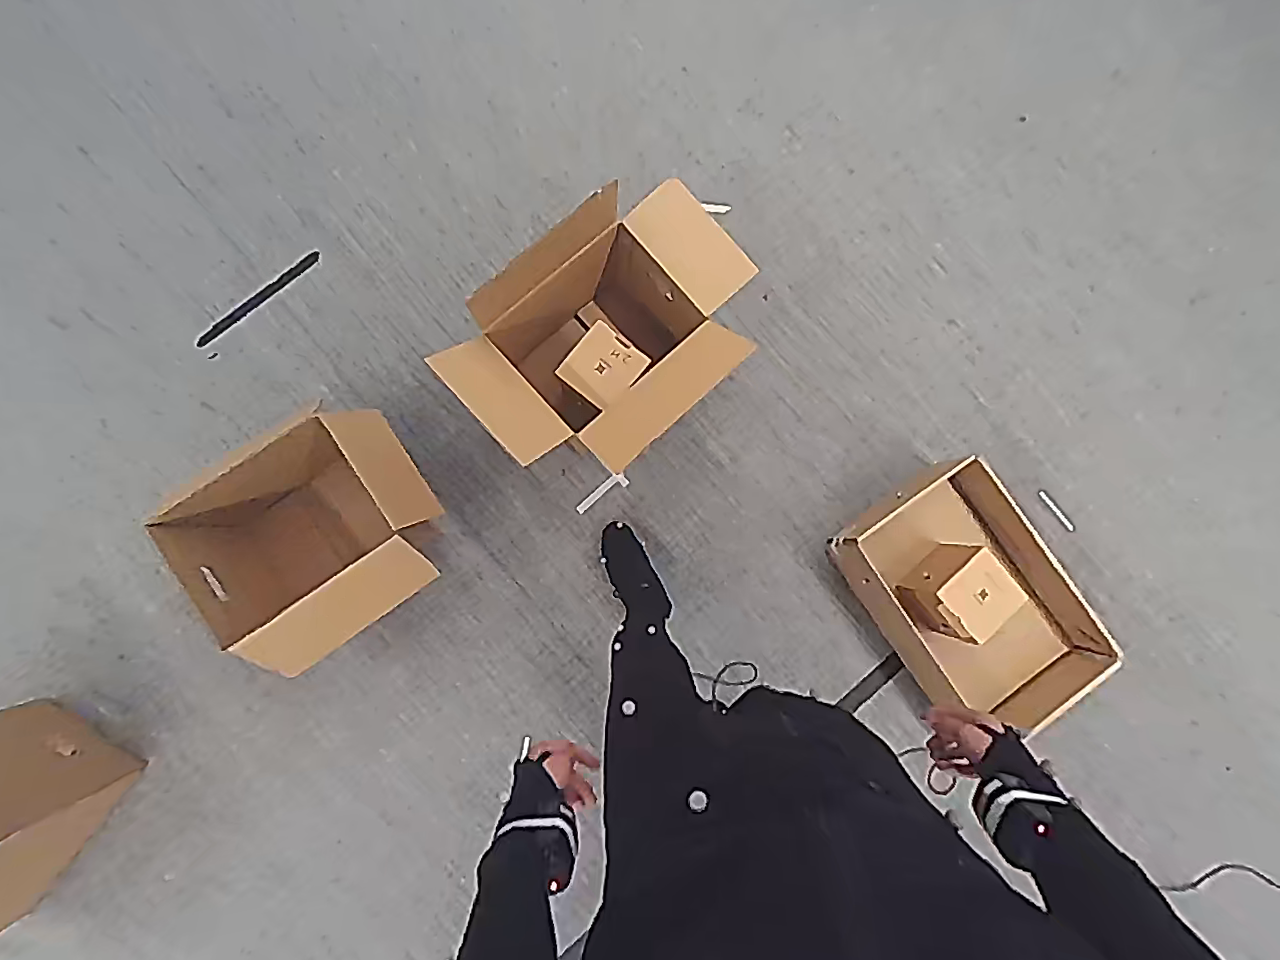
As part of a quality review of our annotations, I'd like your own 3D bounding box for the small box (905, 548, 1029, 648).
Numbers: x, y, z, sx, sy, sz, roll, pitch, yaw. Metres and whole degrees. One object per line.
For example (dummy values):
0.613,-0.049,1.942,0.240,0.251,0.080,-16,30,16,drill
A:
0.801,0.286,1.351,0.179,0.176,0.168,-39,89,-7,small box
